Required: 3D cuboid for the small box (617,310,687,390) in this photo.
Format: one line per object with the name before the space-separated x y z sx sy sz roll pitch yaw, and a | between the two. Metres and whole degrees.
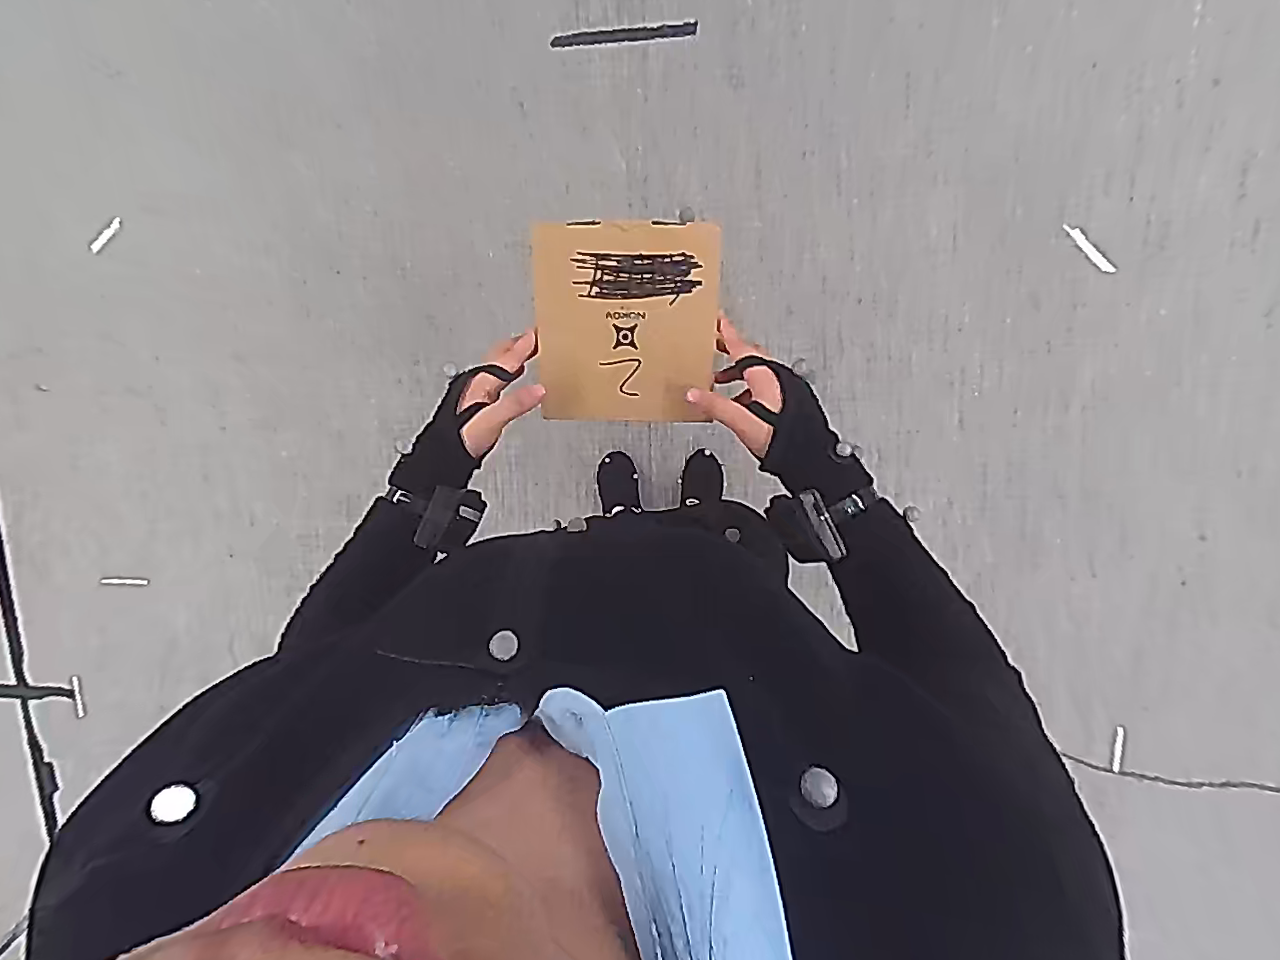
small box | 0.034 -0.320 1.357 0.168 0.176 0.179 -2 98 5
